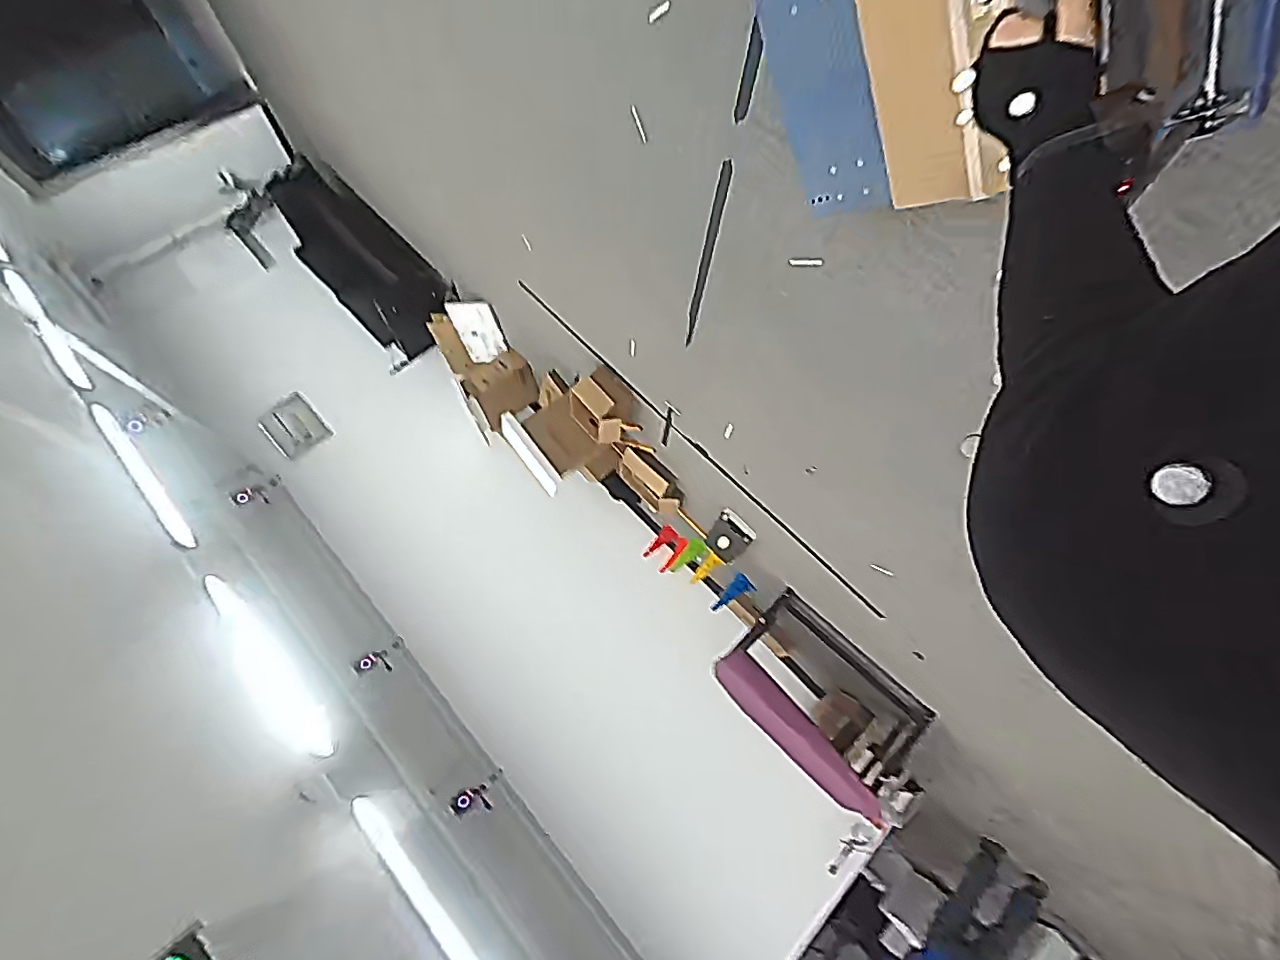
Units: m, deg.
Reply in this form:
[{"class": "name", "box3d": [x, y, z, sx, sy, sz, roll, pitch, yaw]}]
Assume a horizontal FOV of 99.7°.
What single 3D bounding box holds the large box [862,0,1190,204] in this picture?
[{"class": "large box", "box3d": [0.600, -0.724, 0.848, 0.320, 0.320, 0.408, 23, 148, 53]}]
